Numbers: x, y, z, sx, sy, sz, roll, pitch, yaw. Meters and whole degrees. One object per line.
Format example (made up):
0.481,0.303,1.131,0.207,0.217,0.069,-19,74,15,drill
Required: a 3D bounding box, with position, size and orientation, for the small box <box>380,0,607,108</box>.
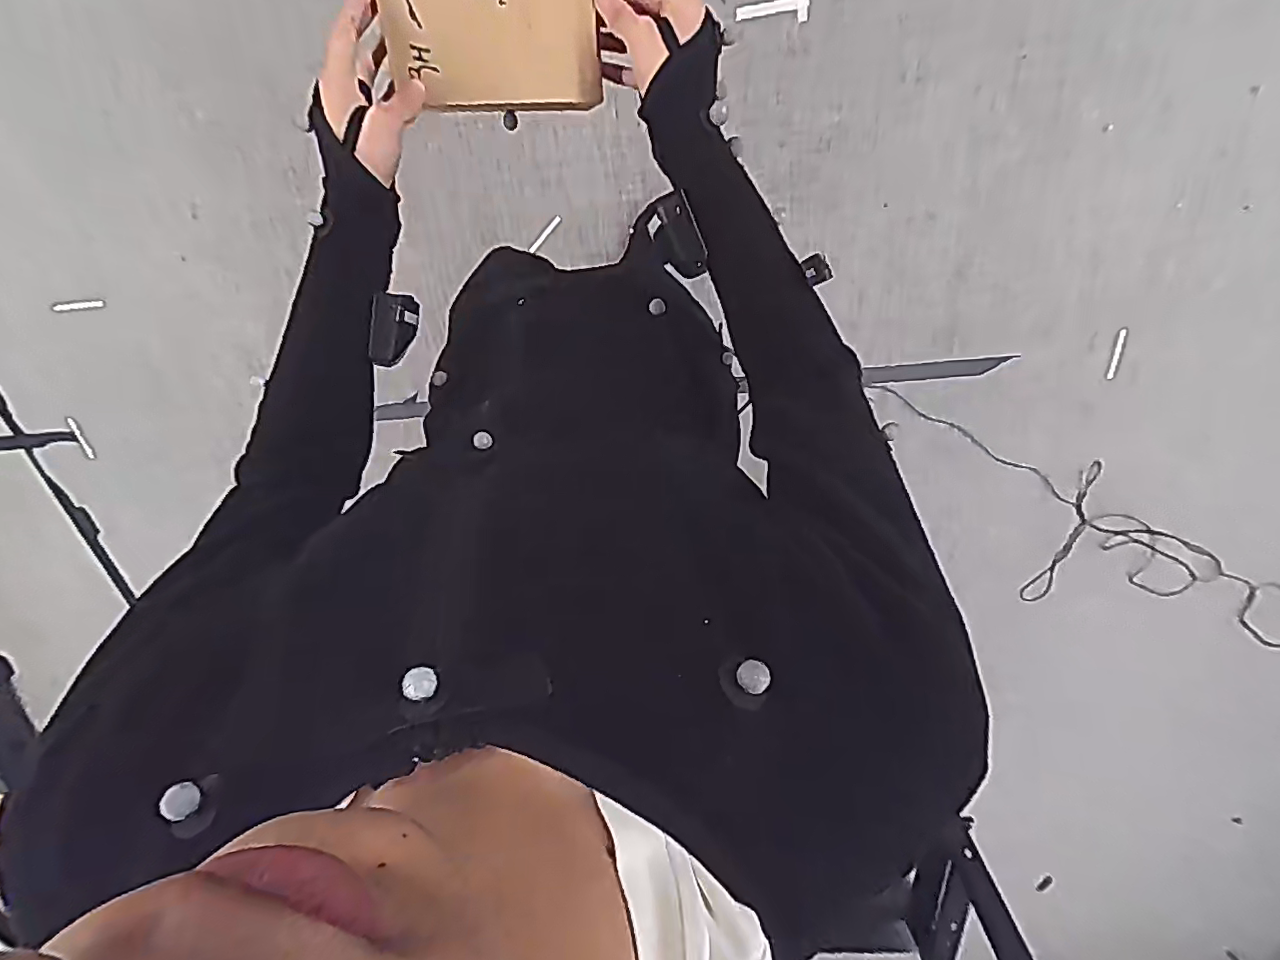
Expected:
-0.129,-0.436,0.482,0.179,0.176,0.168,-6,123,-8,small box
